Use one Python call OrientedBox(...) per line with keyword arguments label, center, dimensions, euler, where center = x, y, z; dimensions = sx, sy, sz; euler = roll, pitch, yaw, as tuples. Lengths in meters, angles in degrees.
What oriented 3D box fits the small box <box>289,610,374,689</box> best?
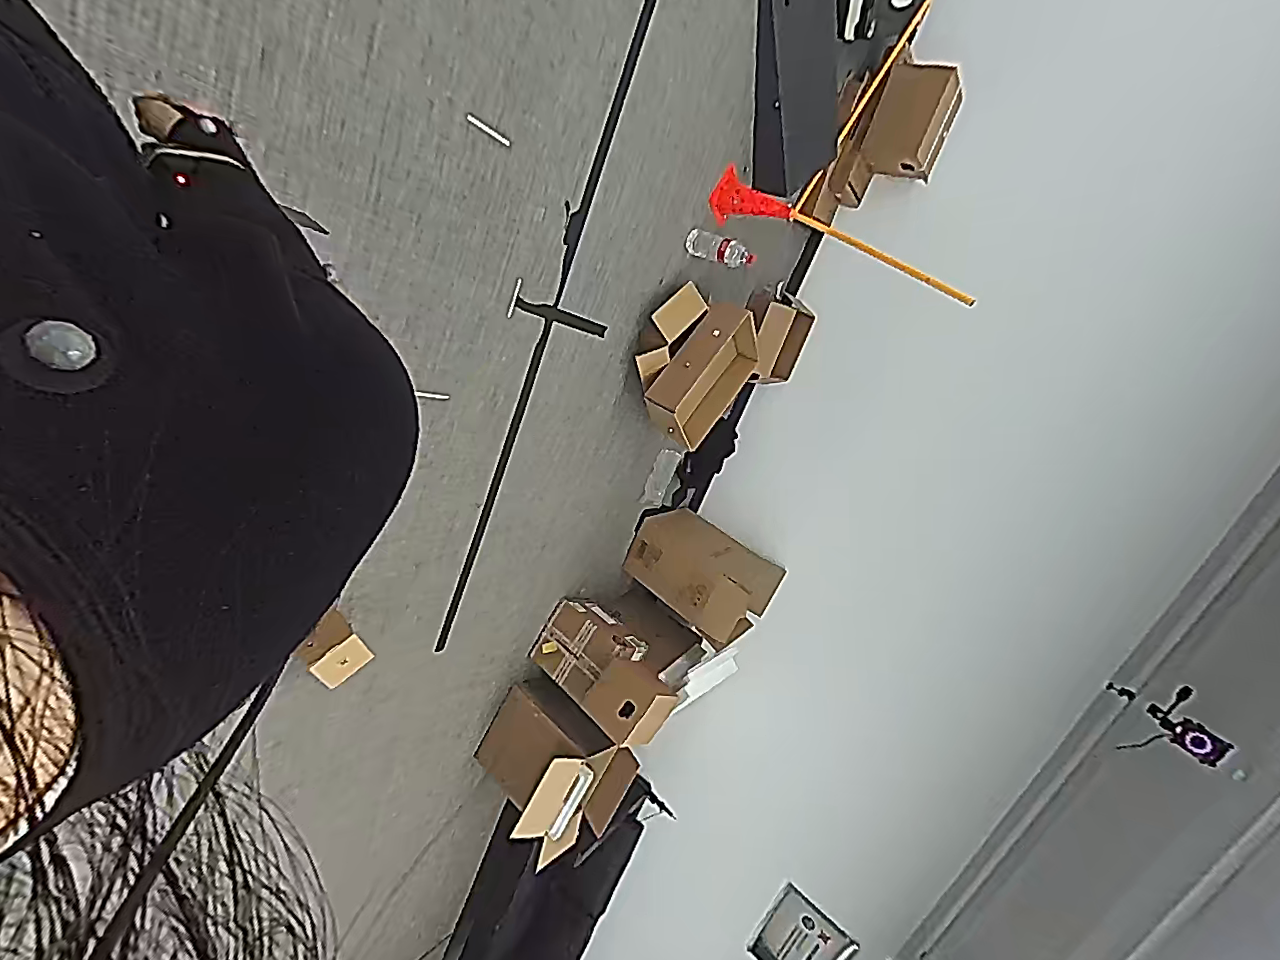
OrientedBox(label="small box", center=(-1.069, 0.579, 1.871), dimensions=(0.168, 0.176, 0.179), euler=(-40, 148, -29))
